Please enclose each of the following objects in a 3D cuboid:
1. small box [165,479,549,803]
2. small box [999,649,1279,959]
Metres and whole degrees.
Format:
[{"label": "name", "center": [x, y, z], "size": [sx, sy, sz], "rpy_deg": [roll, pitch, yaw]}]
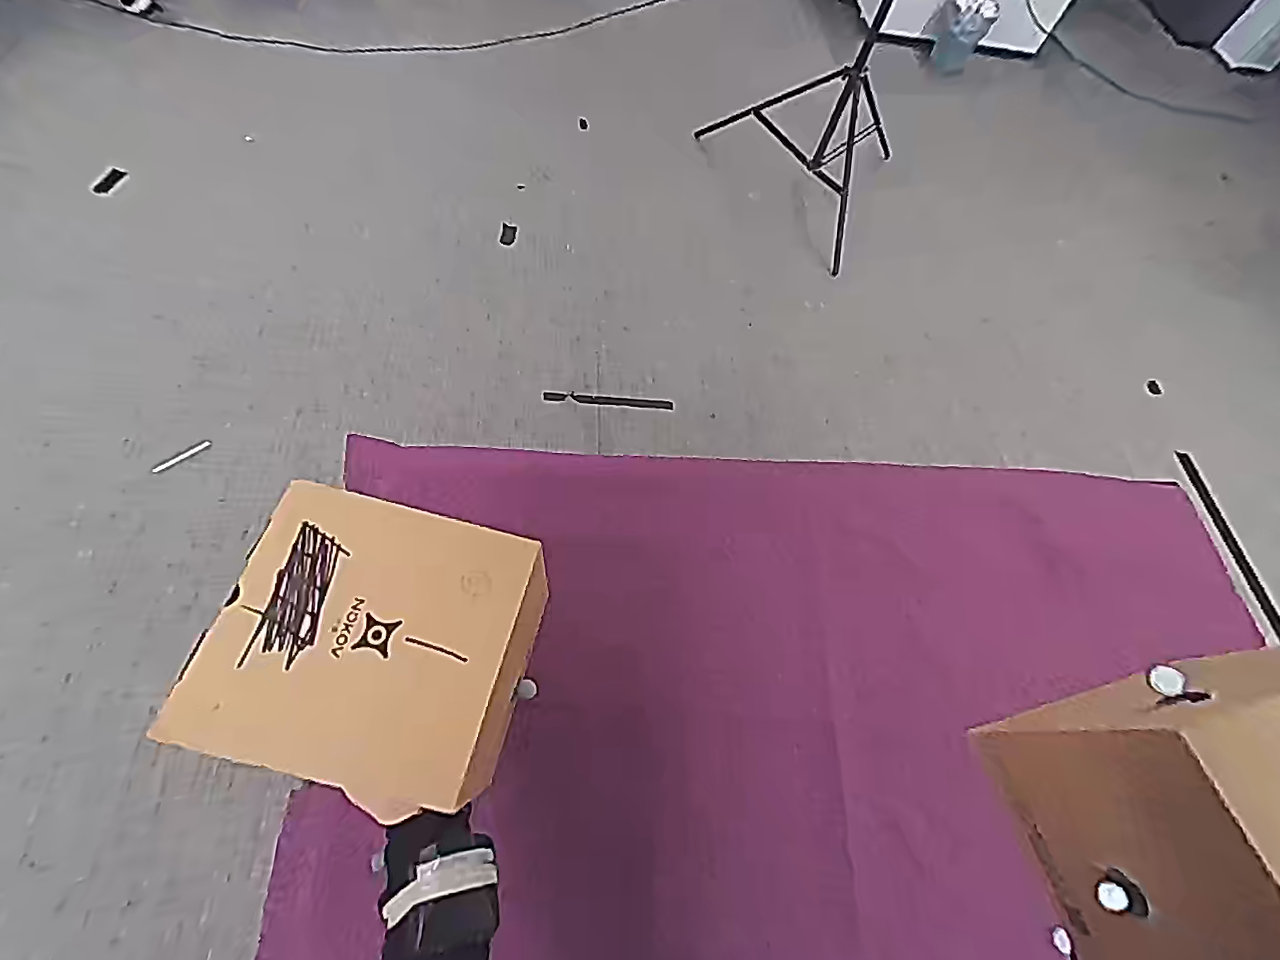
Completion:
[{"label": "small box", "center": [-0.176, 0.123, 0.408], "size": [0.179, 0.176, 0.168], "rpy_deg": [15, 65, -2]}, {"label": "small box", "center": [0.331, 0.189, 0.278], "size": [0.179, 0.176, 0.168], "rpy_deg": [-14, 66, -7]}]
